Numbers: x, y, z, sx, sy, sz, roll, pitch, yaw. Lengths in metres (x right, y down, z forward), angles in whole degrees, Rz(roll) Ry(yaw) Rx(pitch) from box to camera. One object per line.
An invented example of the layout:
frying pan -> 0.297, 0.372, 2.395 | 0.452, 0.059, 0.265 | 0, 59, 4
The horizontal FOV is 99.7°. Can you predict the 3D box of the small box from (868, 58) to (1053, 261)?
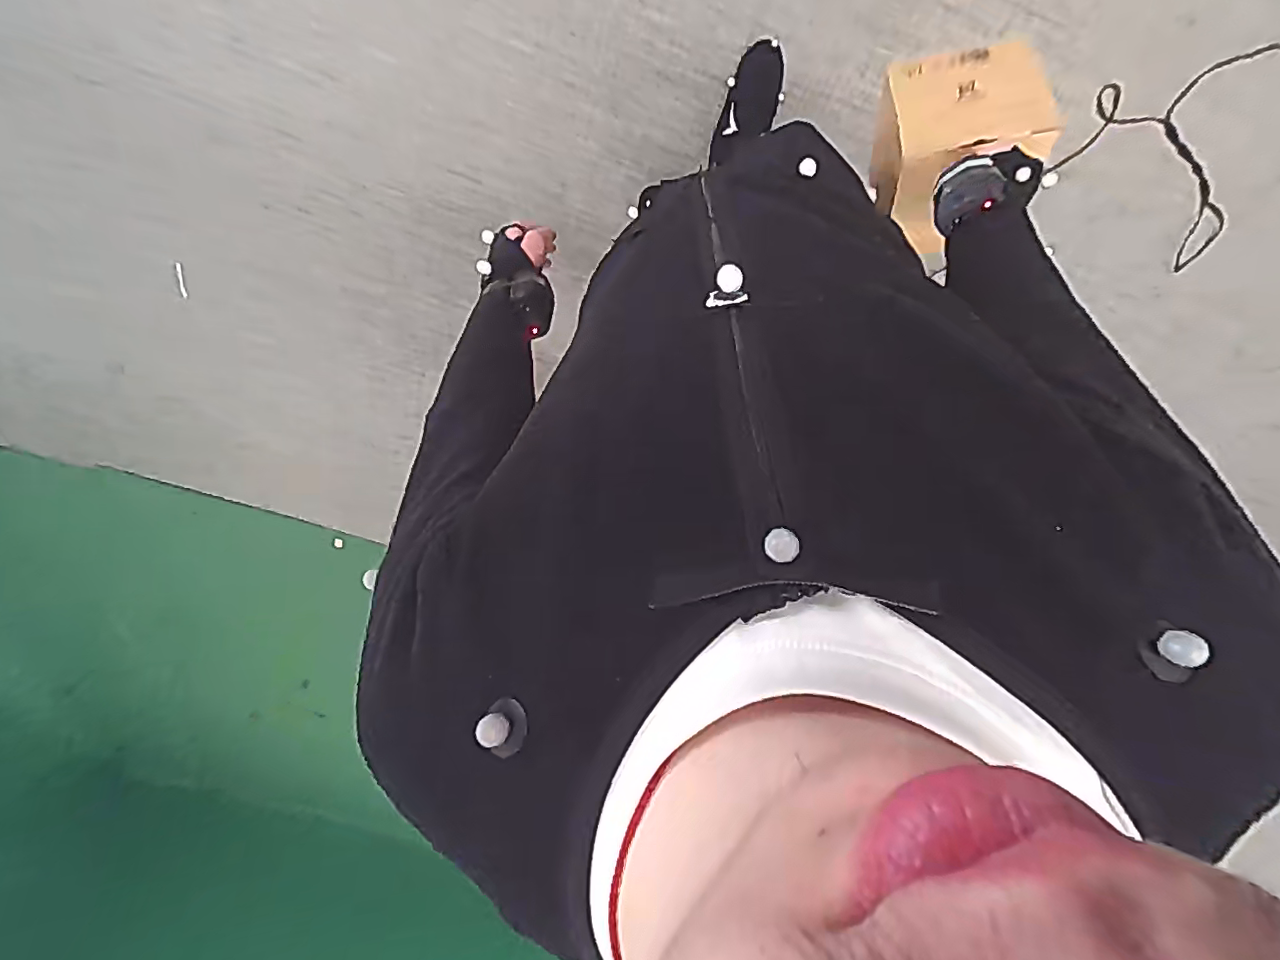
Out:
small box -> 0.418, -0.423, 0.741 | 0.168, 0.179, 0.176 | -5, 149, 14
